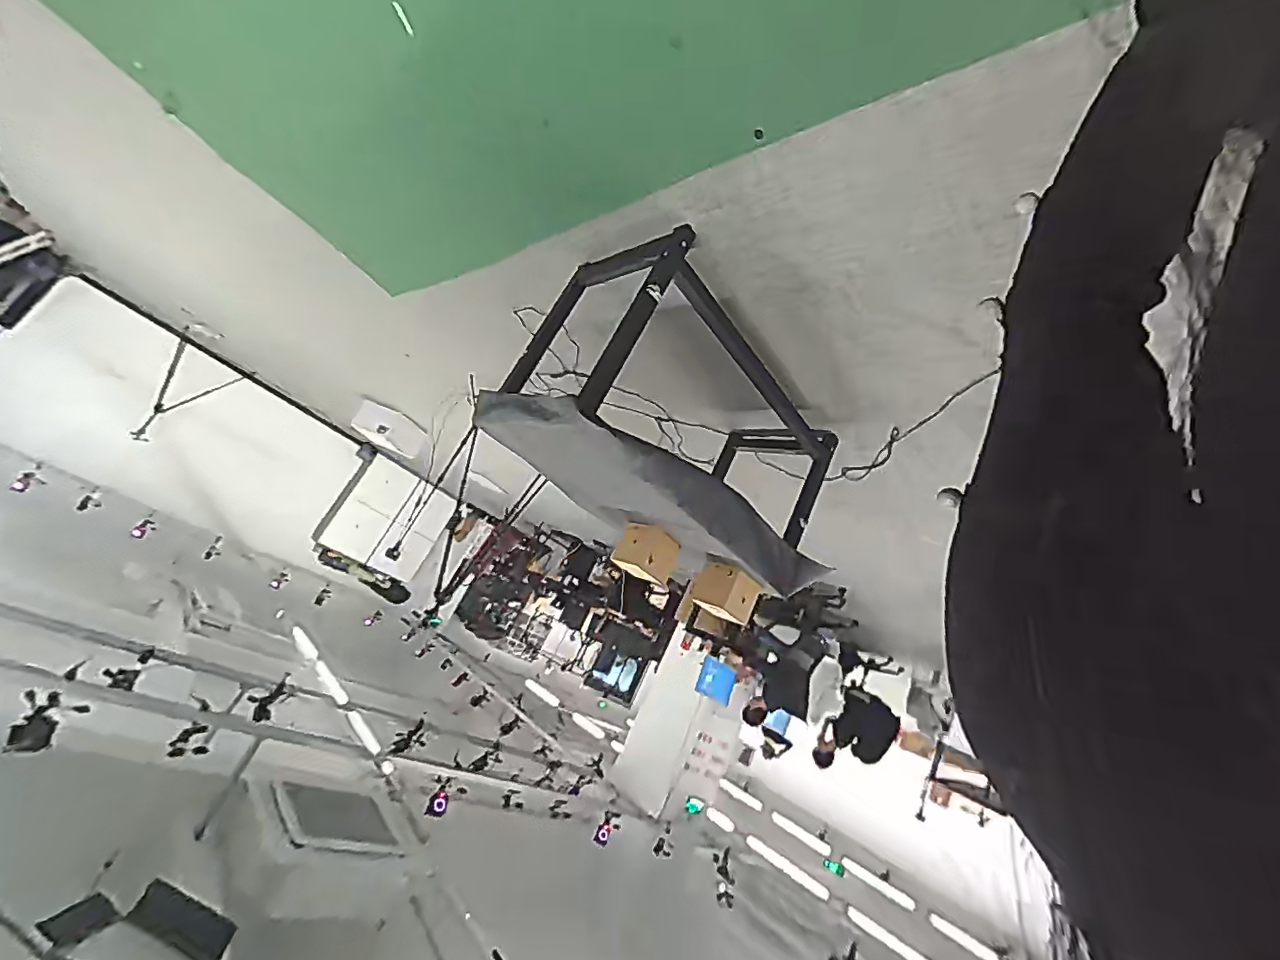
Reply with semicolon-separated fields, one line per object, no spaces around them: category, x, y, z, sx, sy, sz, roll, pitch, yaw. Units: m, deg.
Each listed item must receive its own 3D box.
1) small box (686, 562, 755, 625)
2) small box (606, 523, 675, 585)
small box;0.315;0.434;2.089;0.168;0.176;0.179;8;155;48
small box;0.005;0.284;2.109;0.168;0.176;0.179;7;154;46
